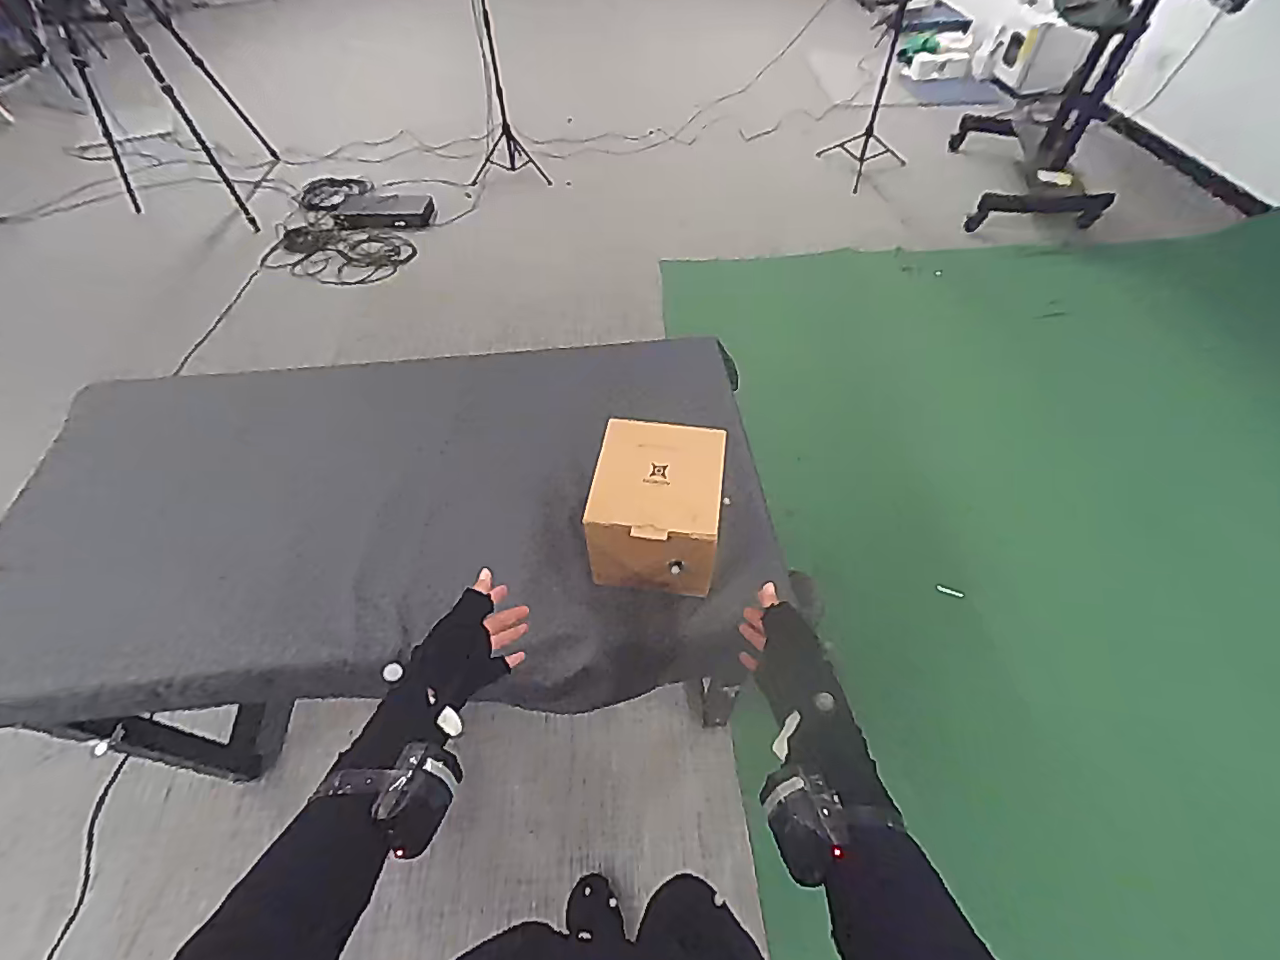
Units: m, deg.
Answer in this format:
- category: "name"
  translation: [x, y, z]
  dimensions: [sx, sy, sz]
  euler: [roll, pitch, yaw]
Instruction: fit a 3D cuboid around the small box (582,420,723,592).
- category: "small box"
  translation: [0.023, 0.040, 0.764]
  dimensions: [0.168, 0.176, 0.179]
  euler: [6, 52, 5]
